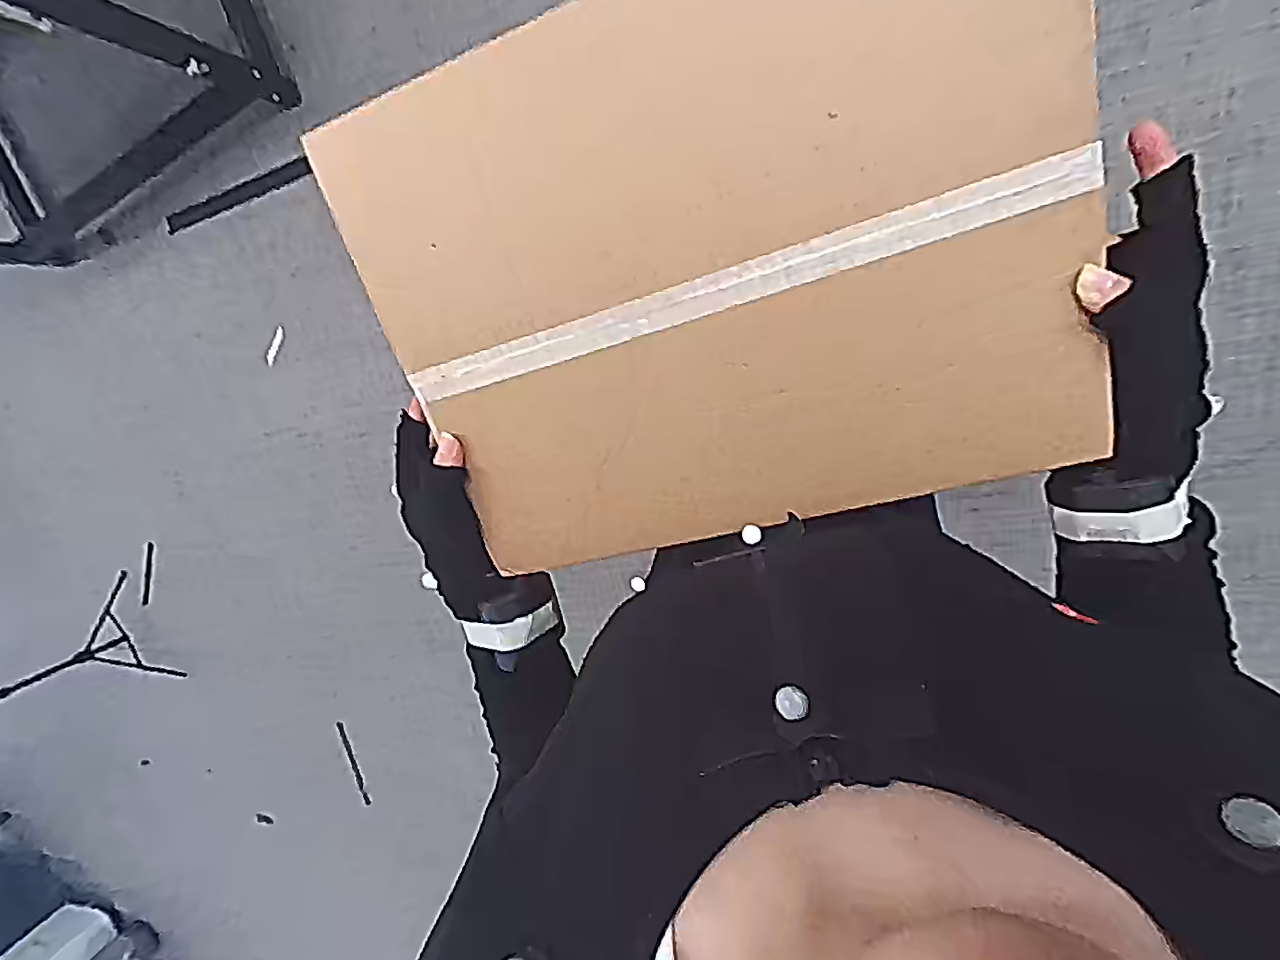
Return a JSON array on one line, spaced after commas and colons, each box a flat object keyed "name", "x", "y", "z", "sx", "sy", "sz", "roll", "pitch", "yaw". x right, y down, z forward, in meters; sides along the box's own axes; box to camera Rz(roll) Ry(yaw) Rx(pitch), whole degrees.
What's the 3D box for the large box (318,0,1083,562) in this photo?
[{"name": "large box", "x": 0.058, "y": -0.175, "z": 0.459, "sx": 0.408, "sy": 0.320, "sz": 0.320, "roll": -13, "pitch": 109, "yaw": 16}]
